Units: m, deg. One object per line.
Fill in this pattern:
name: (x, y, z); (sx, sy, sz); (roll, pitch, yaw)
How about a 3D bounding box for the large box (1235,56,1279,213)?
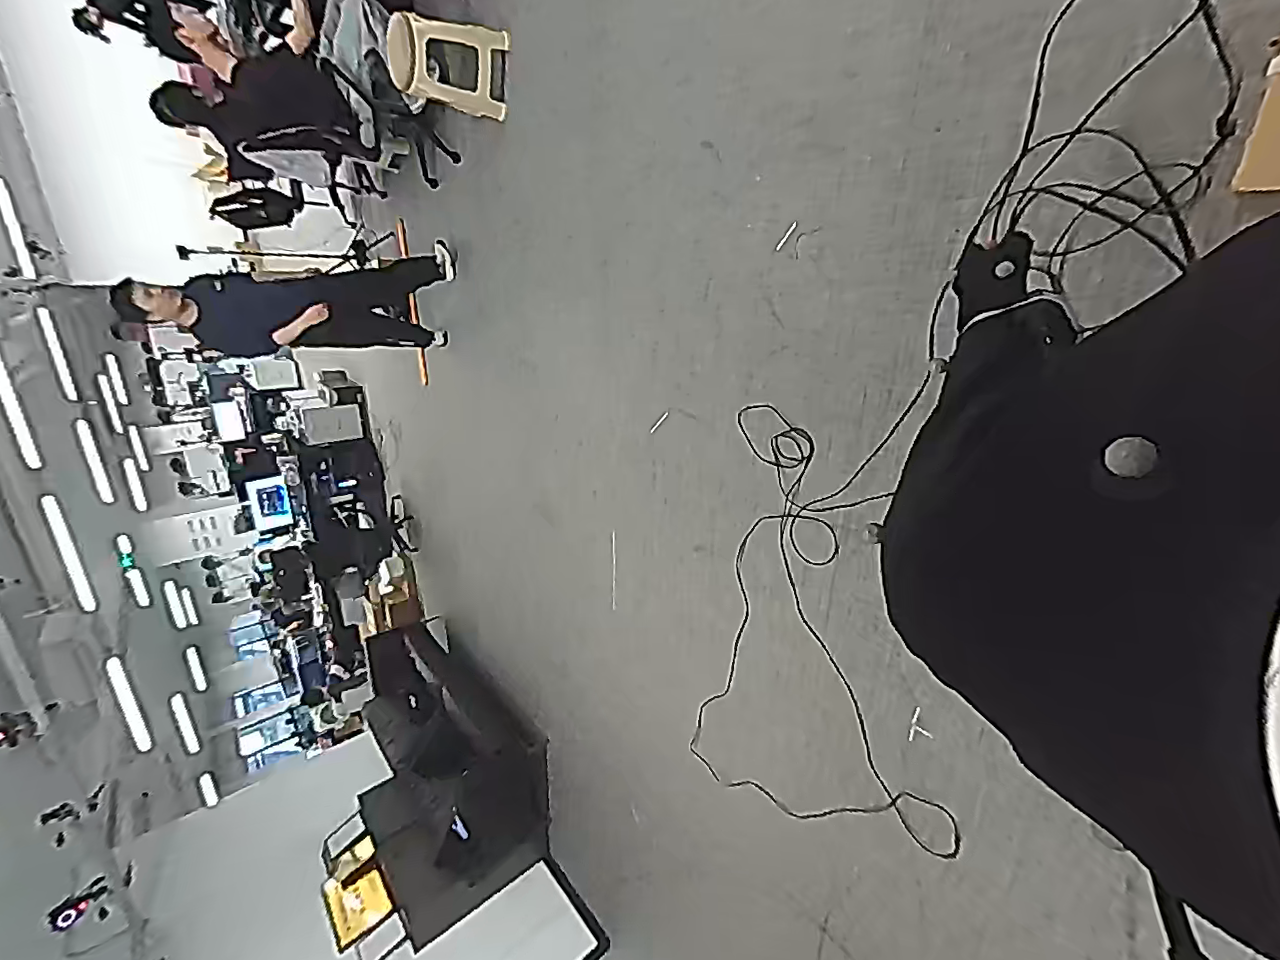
large box: (1.104, -0.541, 0.690); (0.408, 0.320, 0.320); (23, 119, 43)
